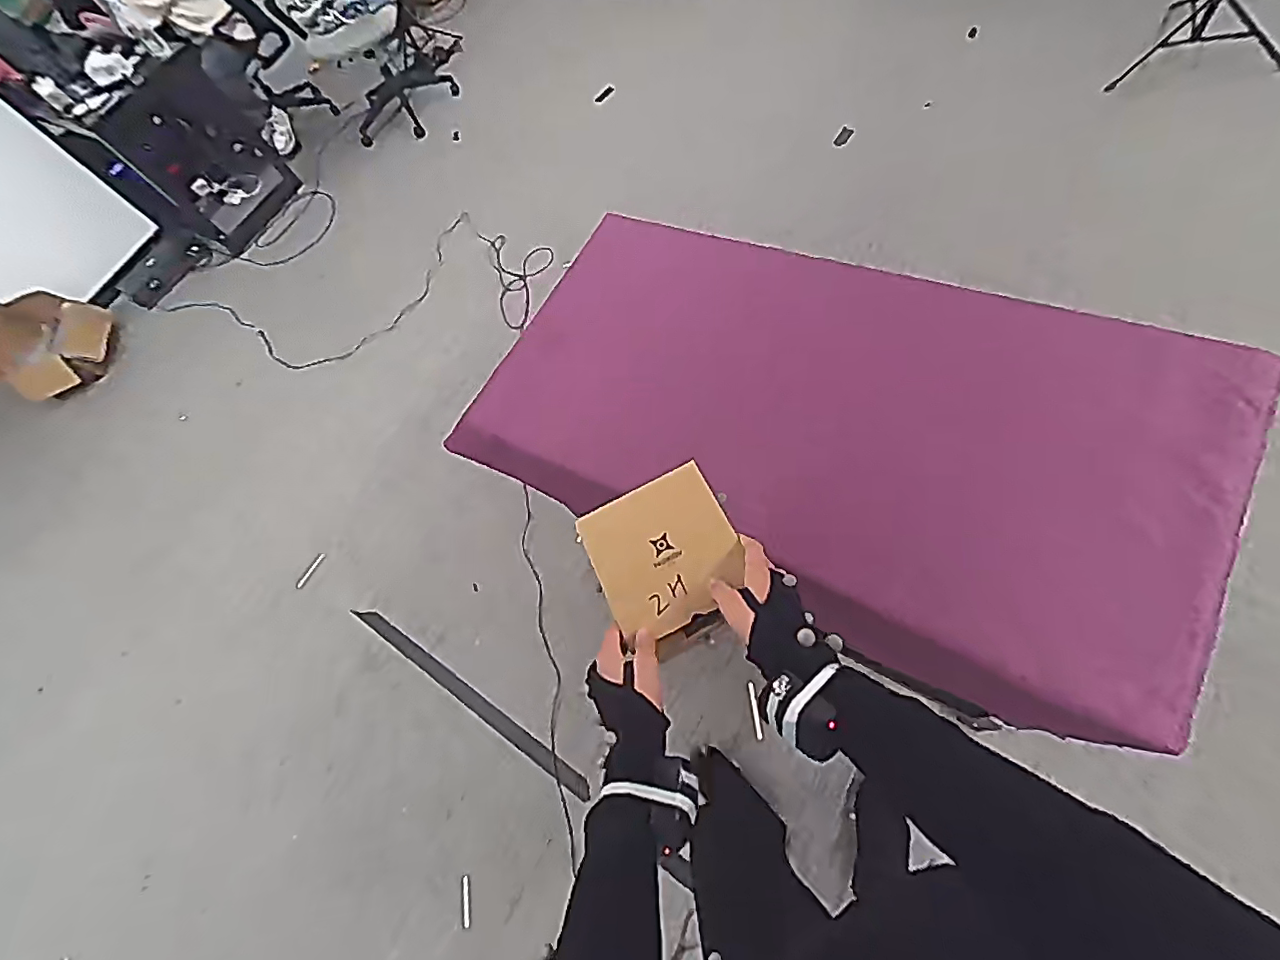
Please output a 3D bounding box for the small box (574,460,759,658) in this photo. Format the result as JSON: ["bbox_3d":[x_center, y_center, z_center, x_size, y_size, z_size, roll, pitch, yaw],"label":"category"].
[{"bbox_3d":[0.039,0.110,0.695,0.168,0.176,0.179,-27,64,1],"label":"small box"}]
